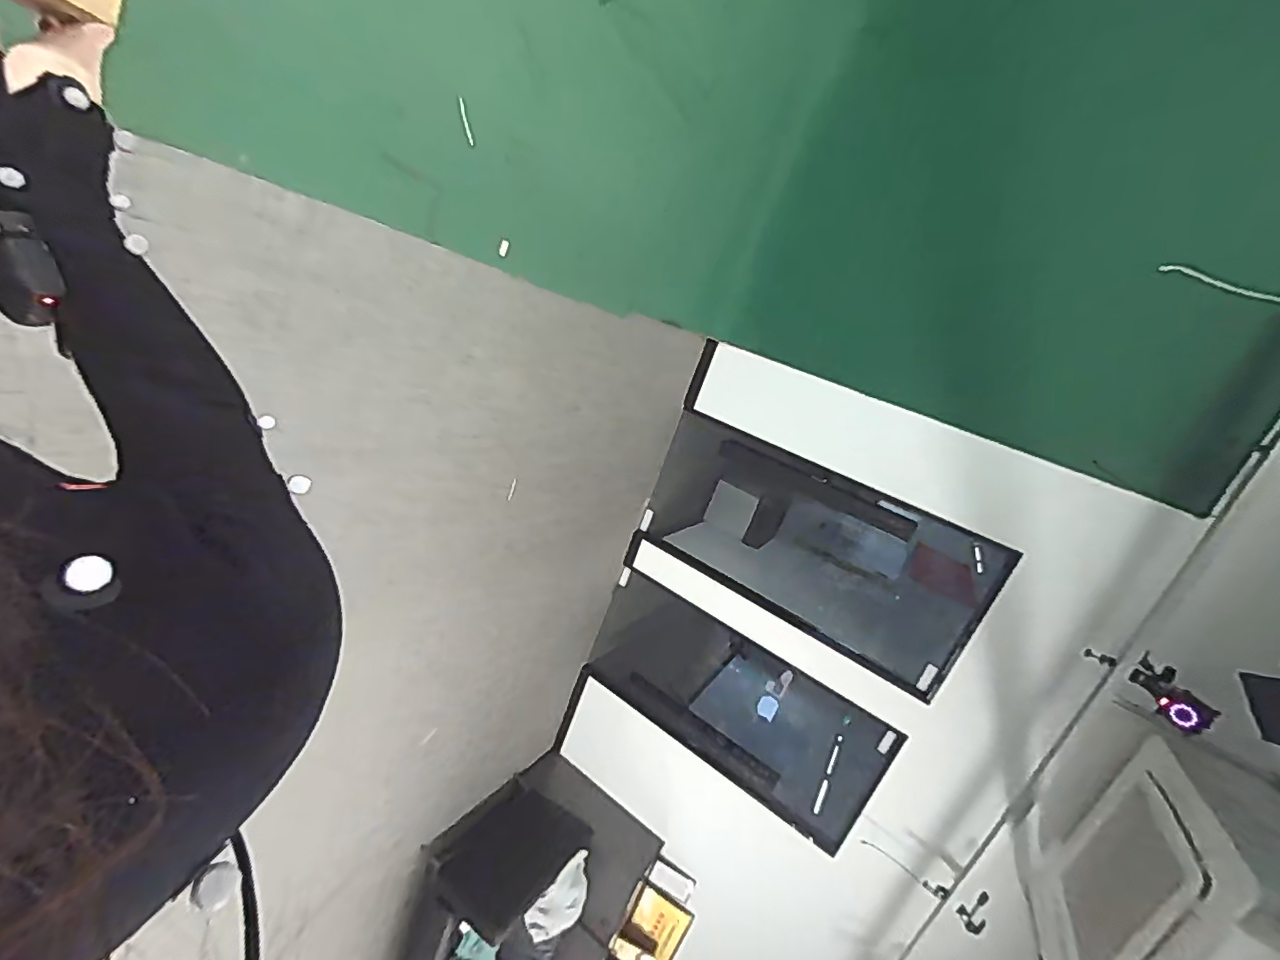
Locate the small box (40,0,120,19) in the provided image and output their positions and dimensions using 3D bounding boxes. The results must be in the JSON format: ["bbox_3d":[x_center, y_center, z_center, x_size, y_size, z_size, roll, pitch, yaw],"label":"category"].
[{"bbox_3d":[-0.398,-0.391,0.279,0.179,0.176,0.168,2,114,-64],"label":"small box"}]
